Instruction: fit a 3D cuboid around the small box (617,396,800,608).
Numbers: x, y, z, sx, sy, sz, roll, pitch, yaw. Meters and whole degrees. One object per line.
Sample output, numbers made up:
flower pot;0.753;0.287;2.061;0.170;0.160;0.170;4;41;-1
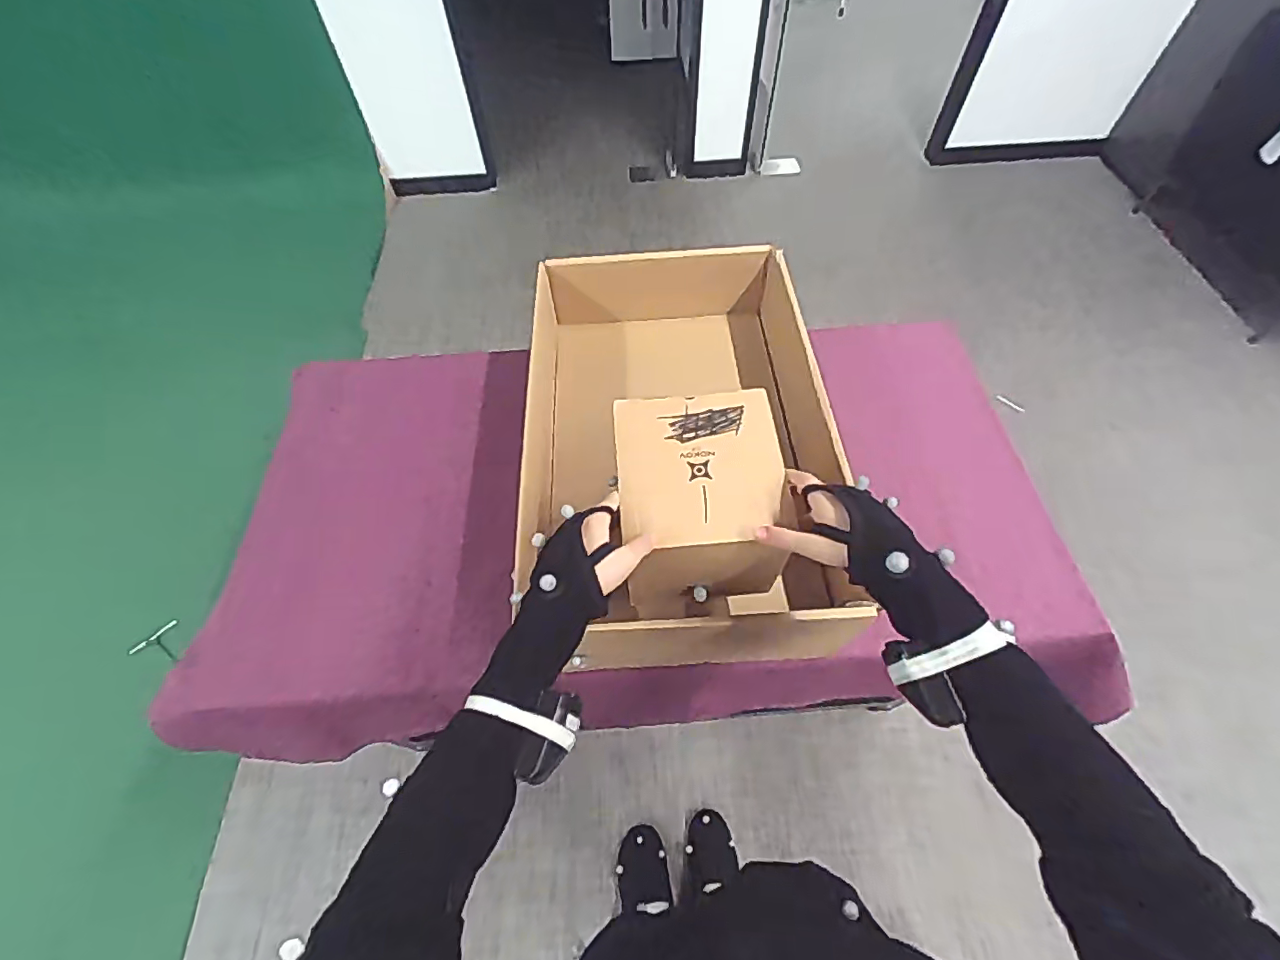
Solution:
small box;0.062;0.030;0.605;0.168;0.176;0.179;-5;61;0
